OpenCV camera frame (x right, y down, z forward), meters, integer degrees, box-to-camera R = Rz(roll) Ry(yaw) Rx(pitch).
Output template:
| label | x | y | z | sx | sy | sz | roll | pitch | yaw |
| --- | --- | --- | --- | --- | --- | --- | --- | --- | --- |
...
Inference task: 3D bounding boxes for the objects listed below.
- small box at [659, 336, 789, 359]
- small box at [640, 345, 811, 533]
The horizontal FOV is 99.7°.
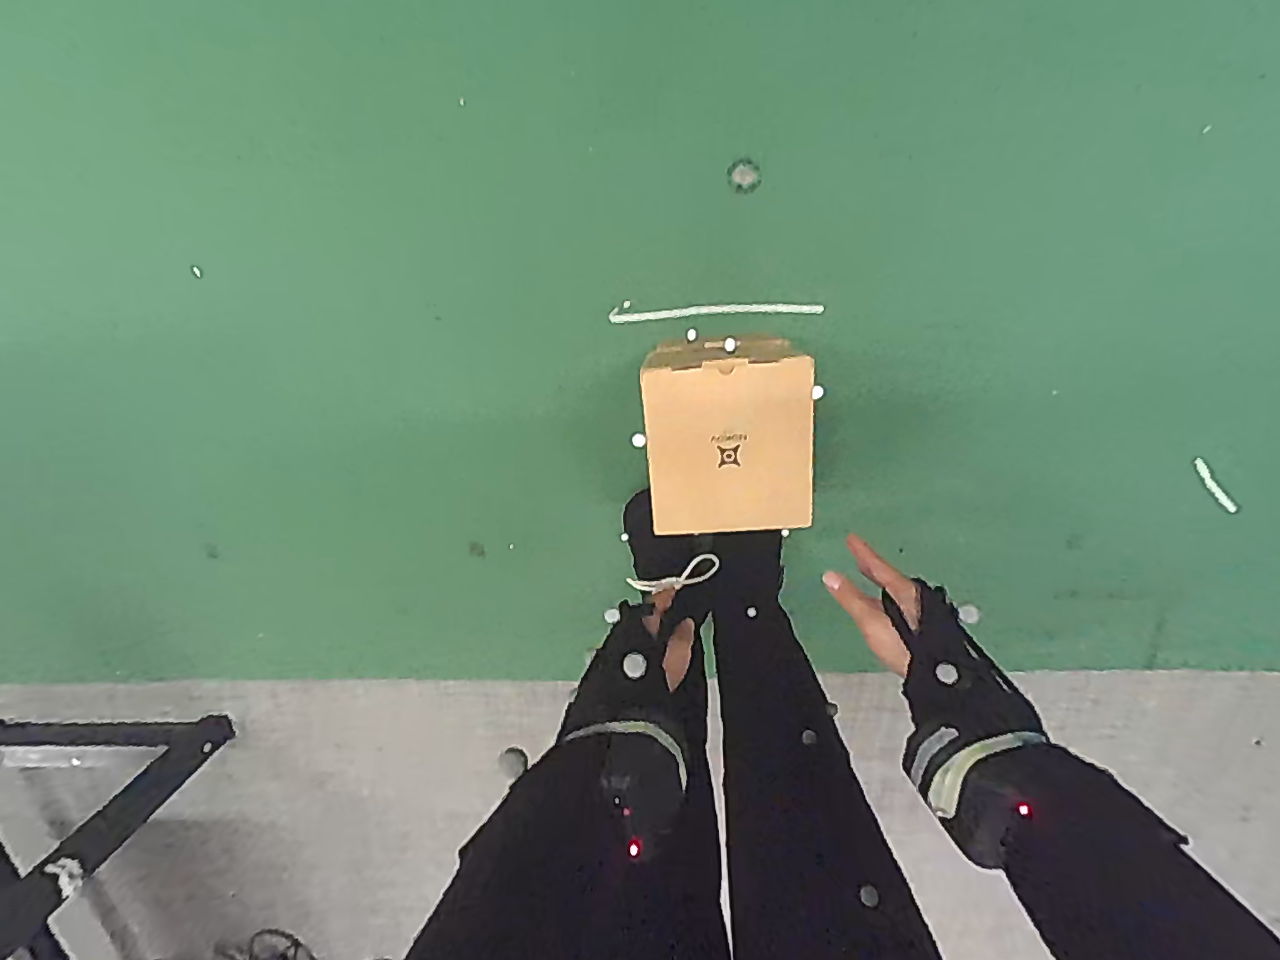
| label | x | y | z | sx | sy | sz | roll | pitch | yaw |
| --- | --- | --- | --- | --- | --- | --- | --- | --- | --- |
| small box | 0.112 | -0.110 | 0.770 | 0.168 | 0.176 | 0.179 | -2 | 109 | 5 |
| small box | 0.093 | -0.053 | 0.618 | 0.168 | 0.176 | 0.179 | -3 | 107 | 6 |
